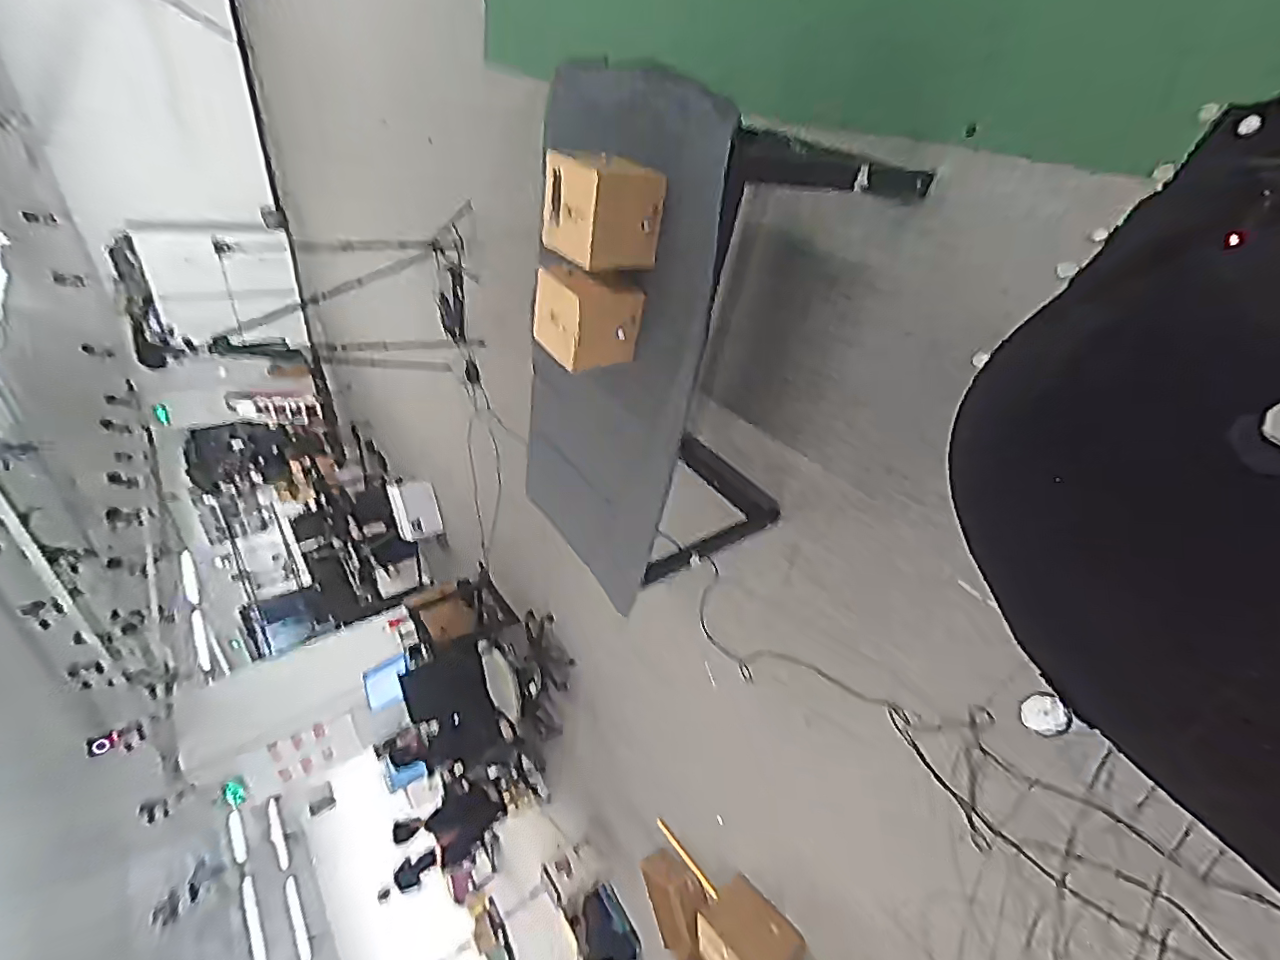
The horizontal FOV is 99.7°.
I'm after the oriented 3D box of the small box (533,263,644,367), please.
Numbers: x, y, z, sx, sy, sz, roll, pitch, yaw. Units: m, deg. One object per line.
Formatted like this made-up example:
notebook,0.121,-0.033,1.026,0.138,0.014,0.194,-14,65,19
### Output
small box,-0.118,-0.374,1.211,0.179,0.176,0.168,45,138,32
